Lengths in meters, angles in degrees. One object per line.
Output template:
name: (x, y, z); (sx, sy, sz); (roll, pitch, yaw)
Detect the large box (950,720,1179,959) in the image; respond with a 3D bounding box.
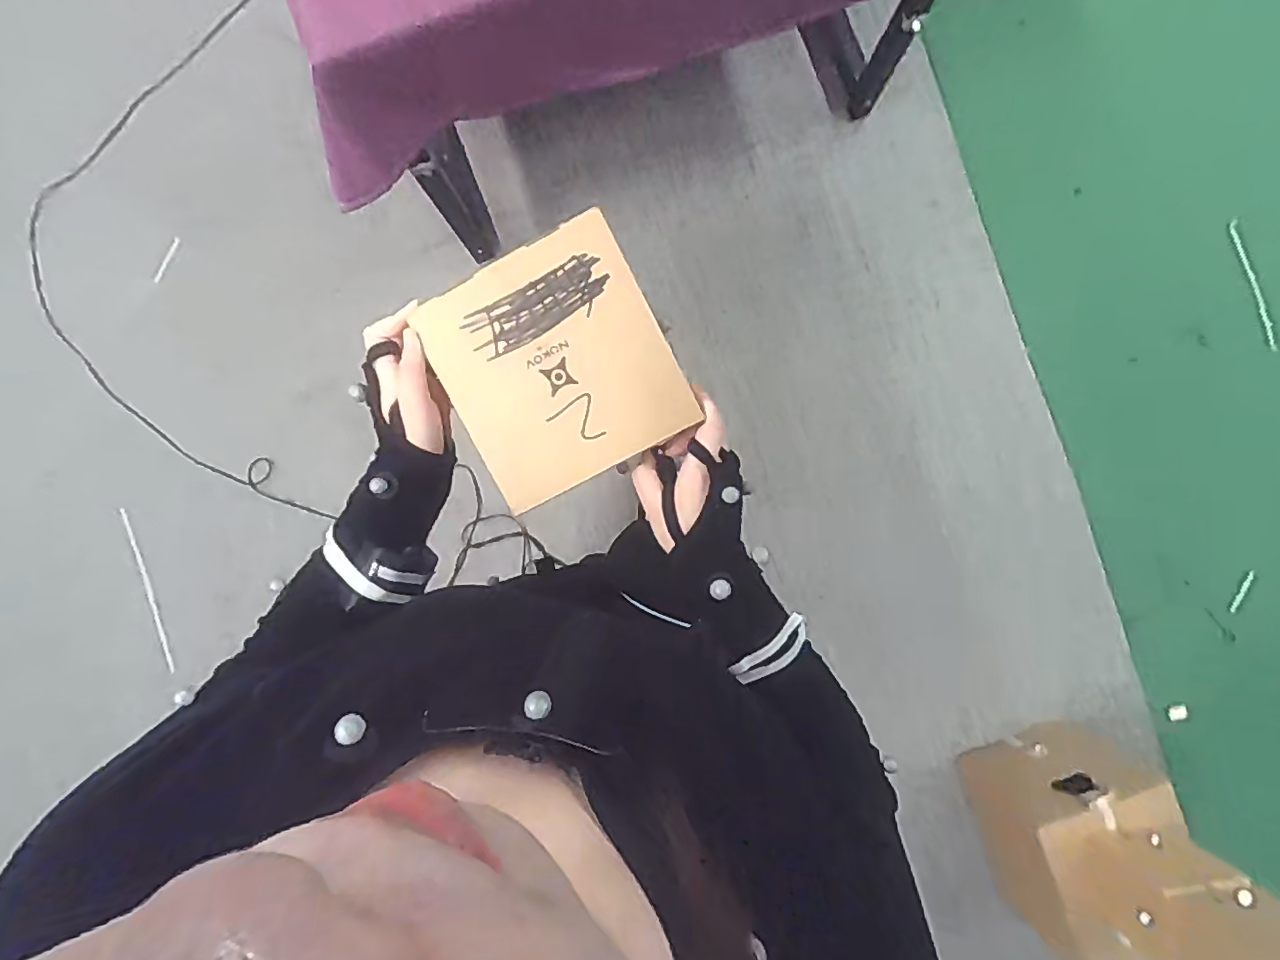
large box: (1.052, 0.886, 1.330); (0.320, 0.320, 0.408); (-19, 90, -1)

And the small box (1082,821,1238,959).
small box: (1.043, 0.832, 1.089); (0.168, 0.176, 0.179); (-8, 89, -1)

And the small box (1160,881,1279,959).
small box: (1.053, 0.837, 0.926); (0.168, 0.176, 0.179); (-4, 88, -2)
